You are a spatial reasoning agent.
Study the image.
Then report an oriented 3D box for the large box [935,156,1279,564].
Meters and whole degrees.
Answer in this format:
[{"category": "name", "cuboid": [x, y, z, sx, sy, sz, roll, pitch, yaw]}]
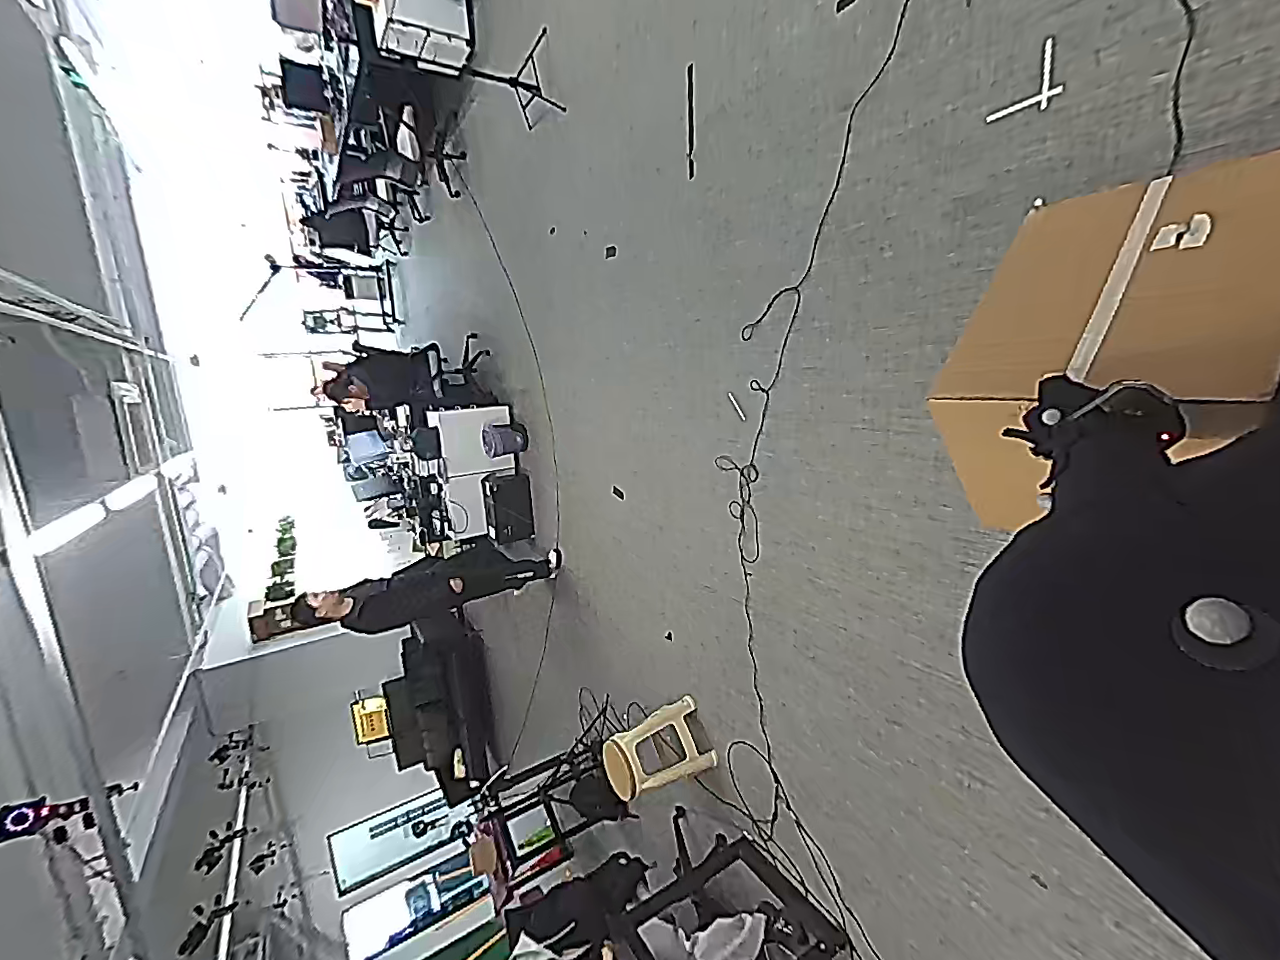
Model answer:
[{"category": "large box", "cuboid": [0.688, -0.153, 0.755, 0.320, 0.408, 0.320, 46, 161, -32]}]
